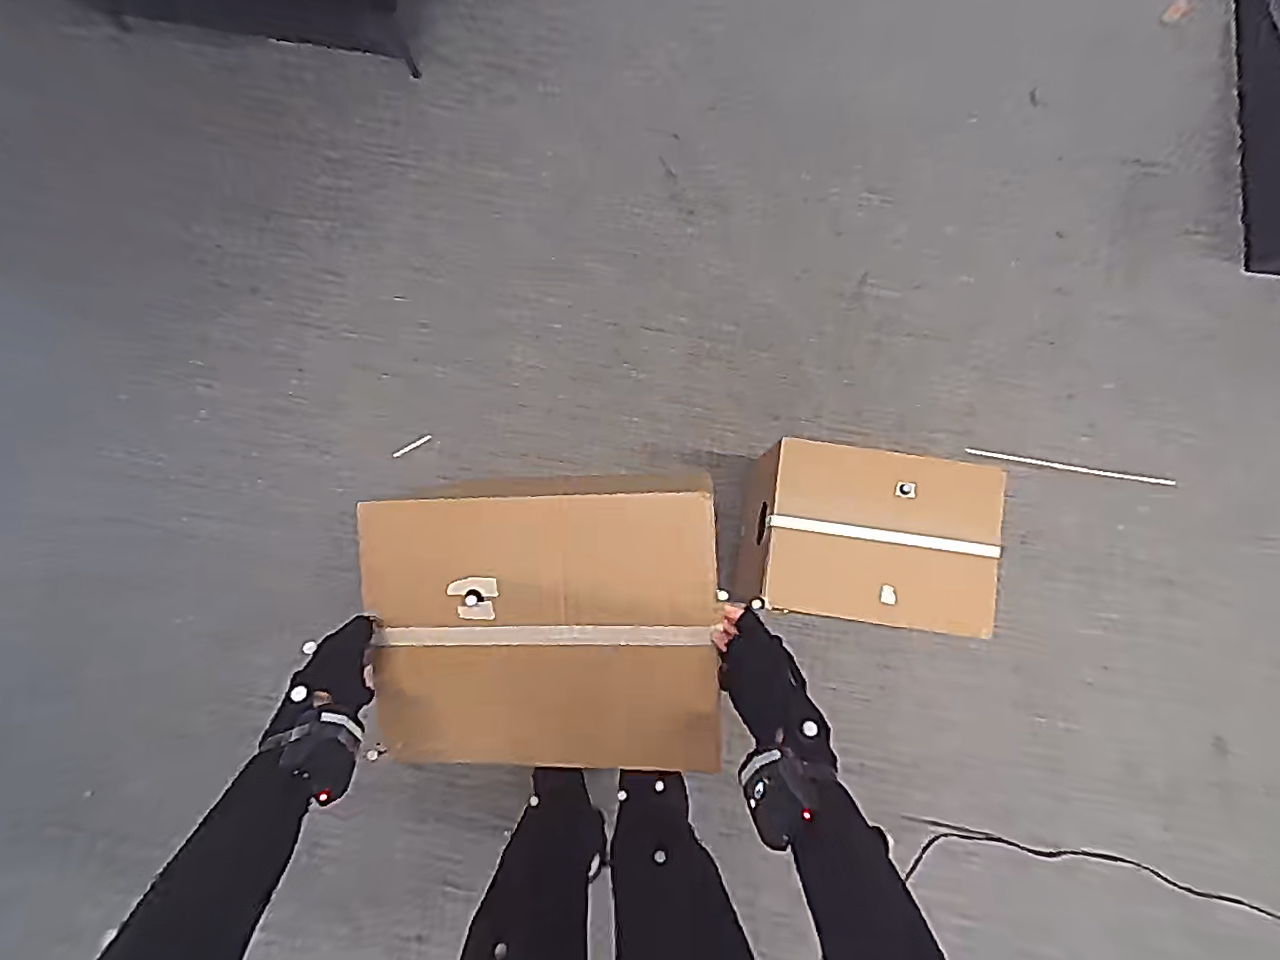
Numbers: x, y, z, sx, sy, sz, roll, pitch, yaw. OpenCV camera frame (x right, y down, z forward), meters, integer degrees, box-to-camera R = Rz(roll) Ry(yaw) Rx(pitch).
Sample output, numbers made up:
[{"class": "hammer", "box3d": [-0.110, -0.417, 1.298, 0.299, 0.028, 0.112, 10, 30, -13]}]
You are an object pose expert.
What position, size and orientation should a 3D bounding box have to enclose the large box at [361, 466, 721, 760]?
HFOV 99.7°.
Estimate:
[{"class": "large box", "box3d": [-0.097, 0.152, 0.755, 0.408, 0.320, 0.320, -2, 94, 8]}]
